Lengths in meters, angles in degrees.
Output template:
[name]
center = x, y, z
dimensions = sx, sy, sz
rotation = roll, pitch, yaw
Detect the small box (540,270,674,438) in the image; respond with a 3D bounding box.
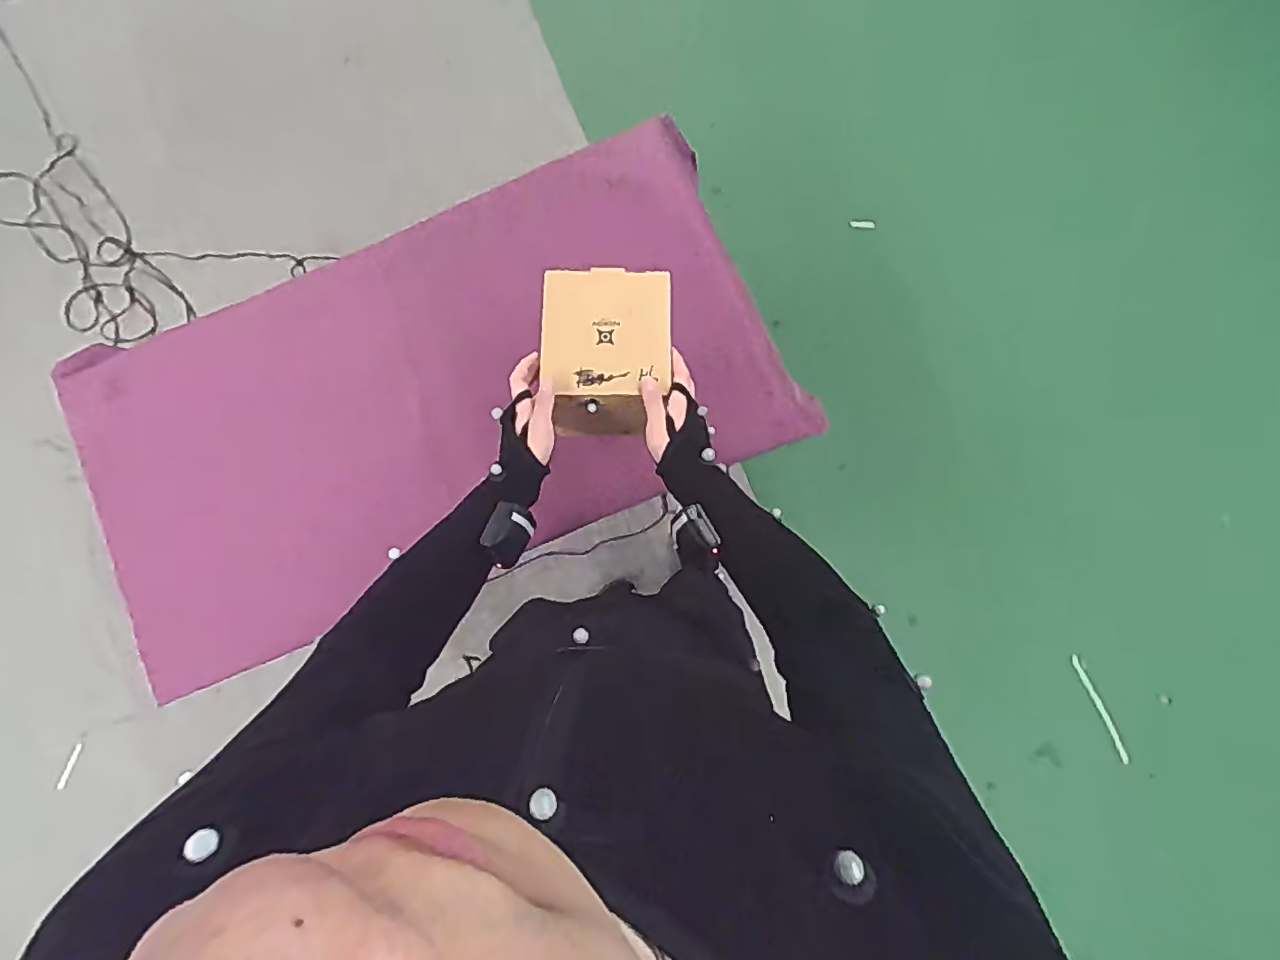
[small box]
center = -0.041, -0.169, 0.761
dimensions = 0.168, 0.176, 0.179
rotation = 1, 78, 0
